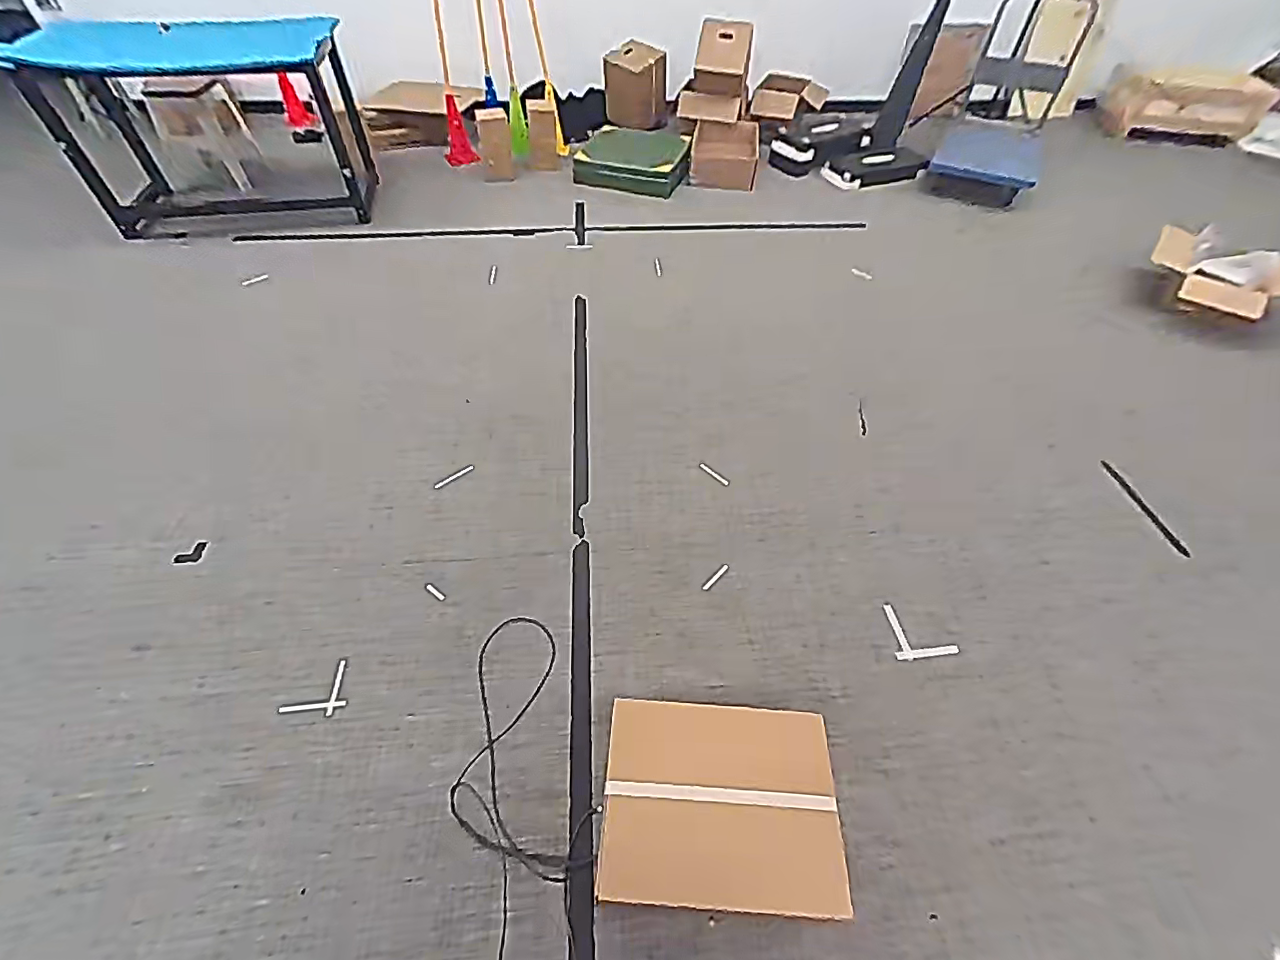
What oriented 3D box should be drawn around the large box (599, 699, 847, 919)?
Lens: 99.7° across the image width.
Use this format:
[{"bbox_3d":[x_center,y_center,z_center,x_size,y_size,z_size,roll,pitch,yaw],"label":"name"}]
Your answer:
[{"bbox_3d":[0.131,0.651,1.063,0.408,0.320,0.320,4,50,0],"label":"large box"}]
